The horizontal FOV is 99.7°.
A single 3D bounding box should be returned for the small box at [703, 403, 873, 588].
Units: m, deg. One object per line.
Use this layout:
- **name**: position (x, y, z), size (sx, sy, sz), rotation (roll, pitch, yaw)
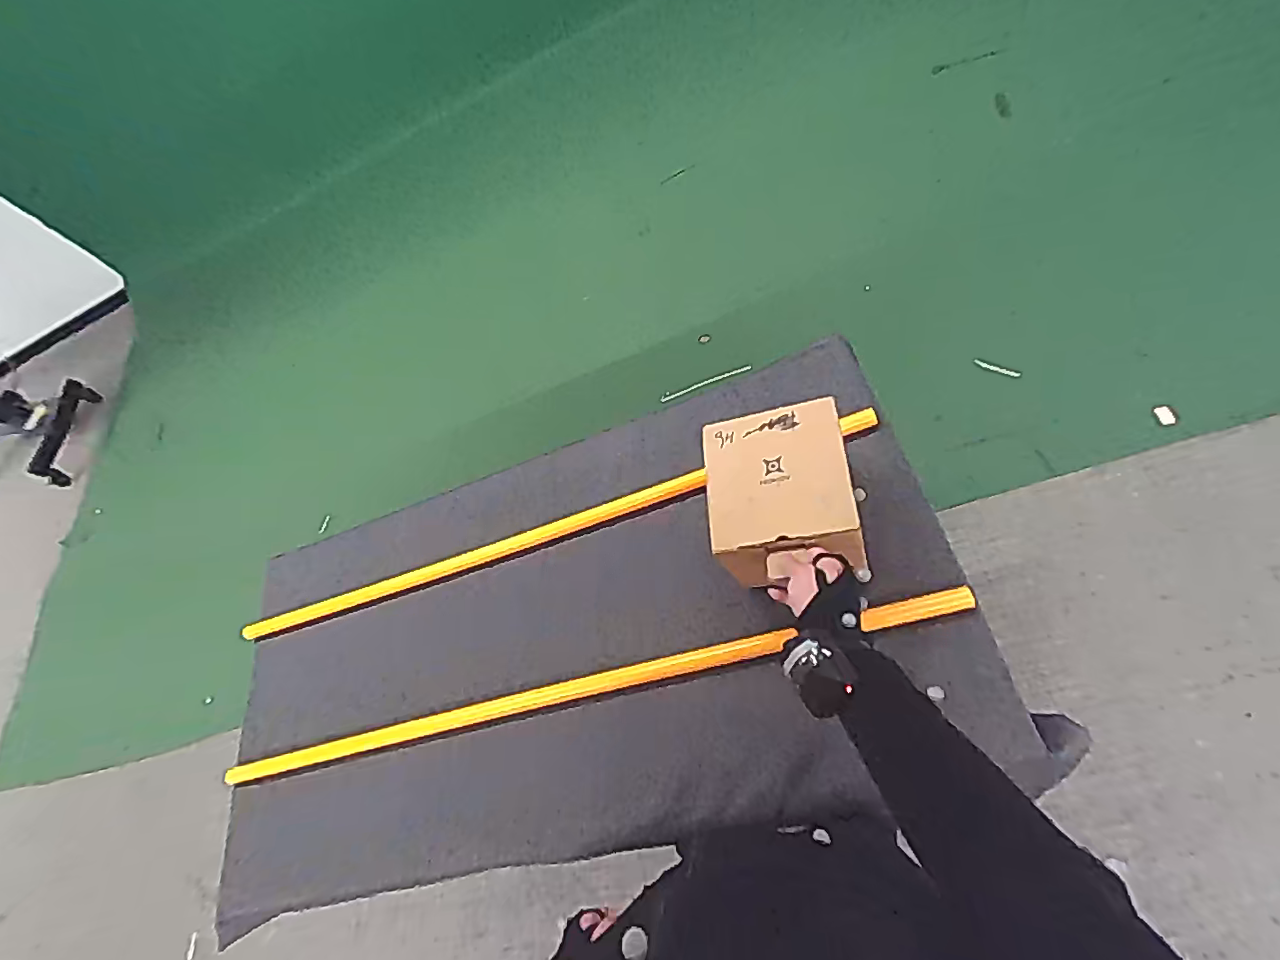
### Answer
- **small box**: position (0.194, 0.033, 0.705), size (0.168, 0.176, 0.179), rotation (-15, 59, 22)
